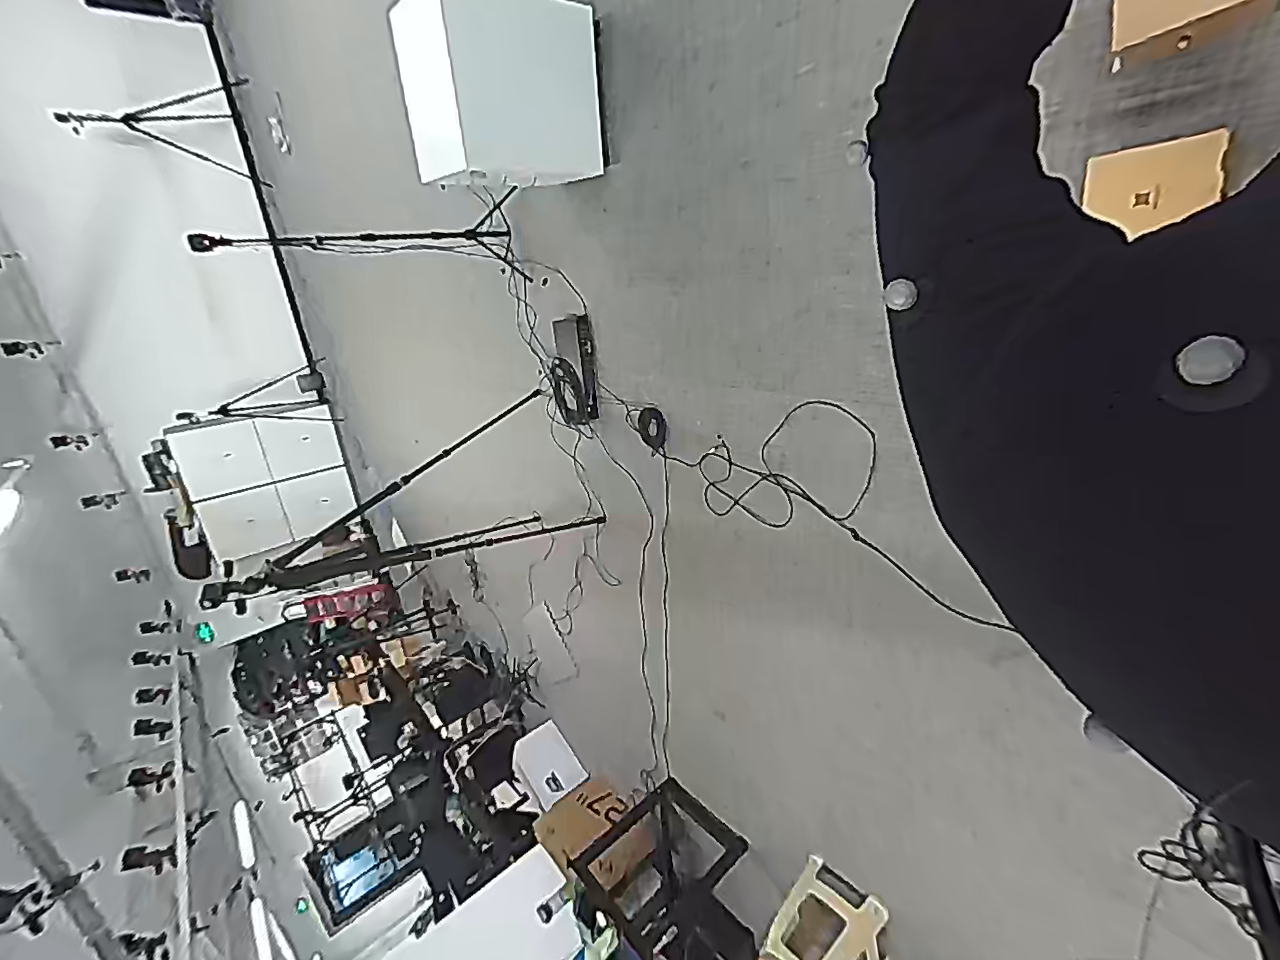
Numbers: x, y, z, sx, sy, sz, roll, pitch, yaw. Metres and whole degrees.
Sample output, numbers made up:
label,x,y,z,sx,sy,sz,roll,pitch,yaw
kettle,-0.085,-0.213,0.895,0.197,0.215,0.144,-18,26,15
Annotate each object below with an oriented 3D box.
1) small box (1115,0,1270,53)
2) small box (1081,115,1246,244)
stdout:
label,x,y,z,sx,sy,sz,roll,pitch,yaw
small box,0.886,-0.817,0.852,0.179,0.176,0.168,9,114,51
small box,0.922,-0.519,0.958,0.179,0.176,0.168,14,118,48
